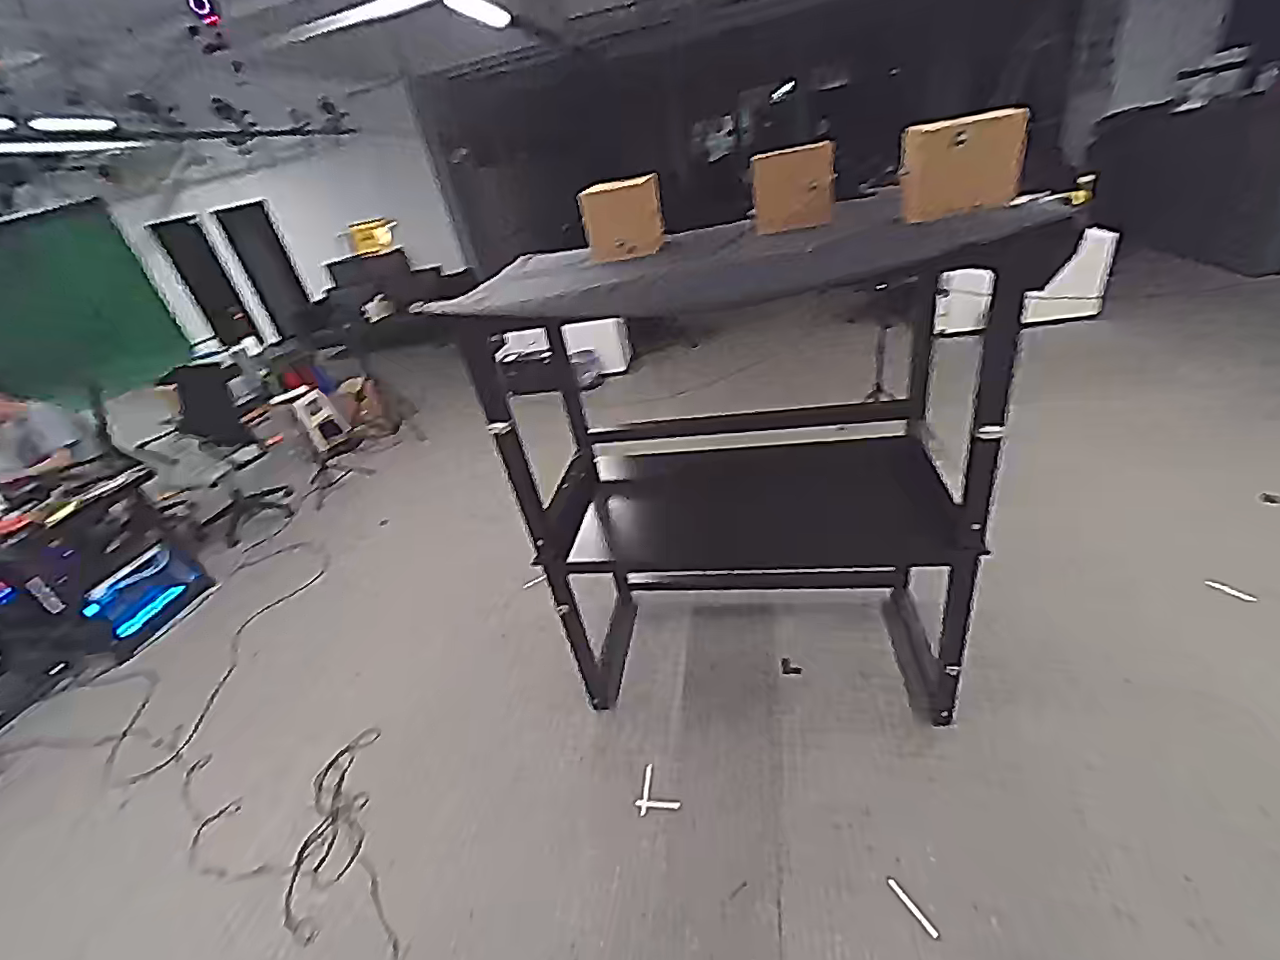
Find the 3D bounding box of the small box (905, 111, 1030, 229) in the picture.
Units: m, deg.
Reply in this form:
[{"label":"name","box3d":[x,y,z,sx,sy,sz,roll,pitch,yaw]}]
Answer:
[{"label":"small box","box3d":[0.621,-0.597,1.050,0.168,0.176,0.179,-2,31,17]}]

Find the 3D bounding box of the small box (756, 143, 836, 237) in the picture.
[{"label":"small box","box3d":[0.377,-0.707,1.319,0.179,0.176,0.168,-2,31,15]}]
